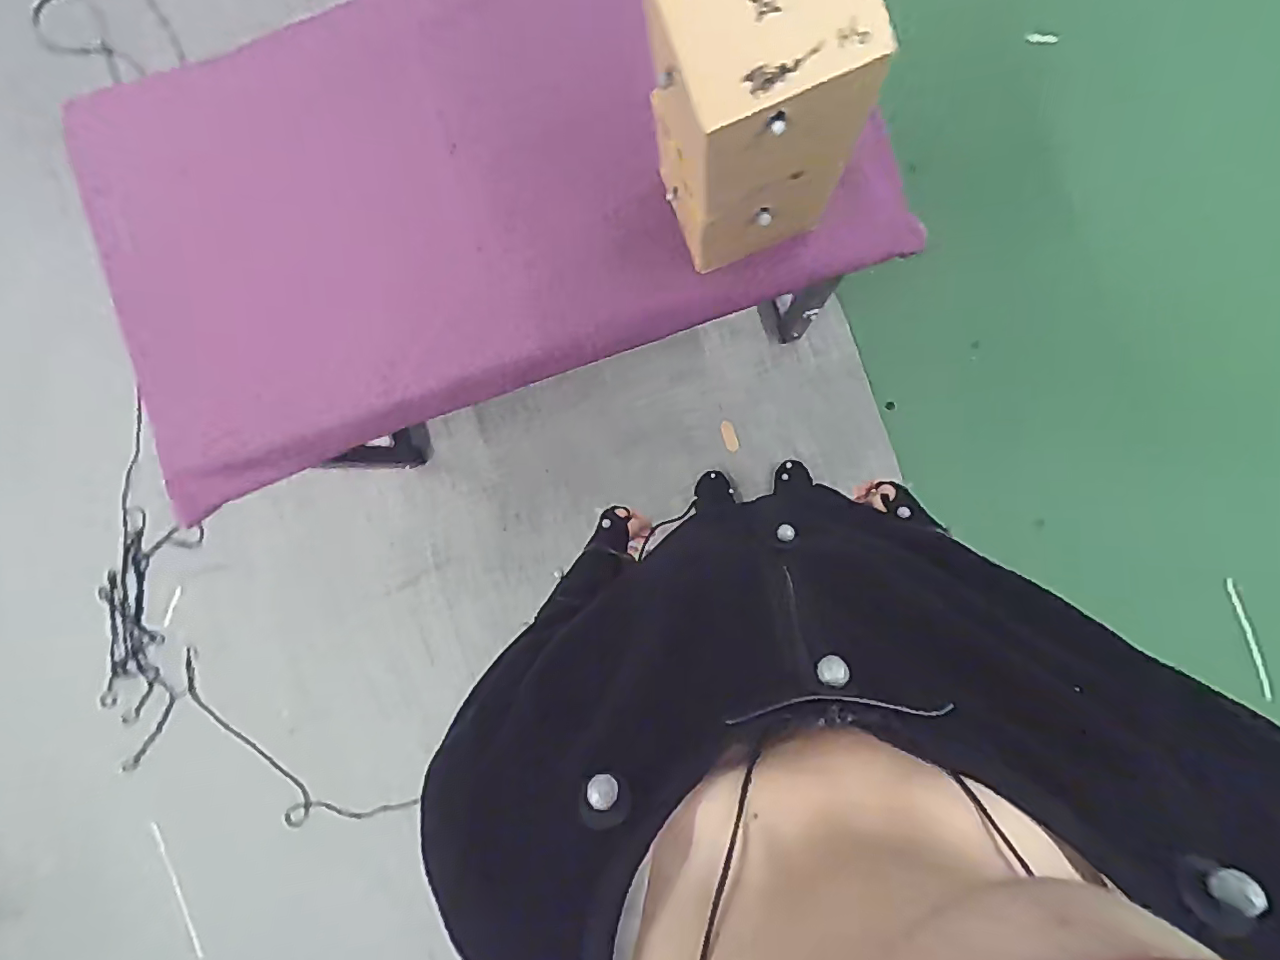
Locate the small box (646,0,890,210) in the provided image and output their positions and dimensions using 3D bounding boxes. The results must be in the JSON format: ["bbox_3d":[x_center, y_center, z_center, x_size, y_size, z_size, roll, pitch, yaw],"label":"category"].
[{"bbox_3d":[0.110,-0.406,0.525,0.168,0.176,0.179,-20,89,10],"label":"small box"}]

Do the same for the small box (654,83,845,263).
[{"bbox_3d":[0.132,-0.408,0.688,0.179,0.176,0.168,-21,89,9],"label":"small box"}]
